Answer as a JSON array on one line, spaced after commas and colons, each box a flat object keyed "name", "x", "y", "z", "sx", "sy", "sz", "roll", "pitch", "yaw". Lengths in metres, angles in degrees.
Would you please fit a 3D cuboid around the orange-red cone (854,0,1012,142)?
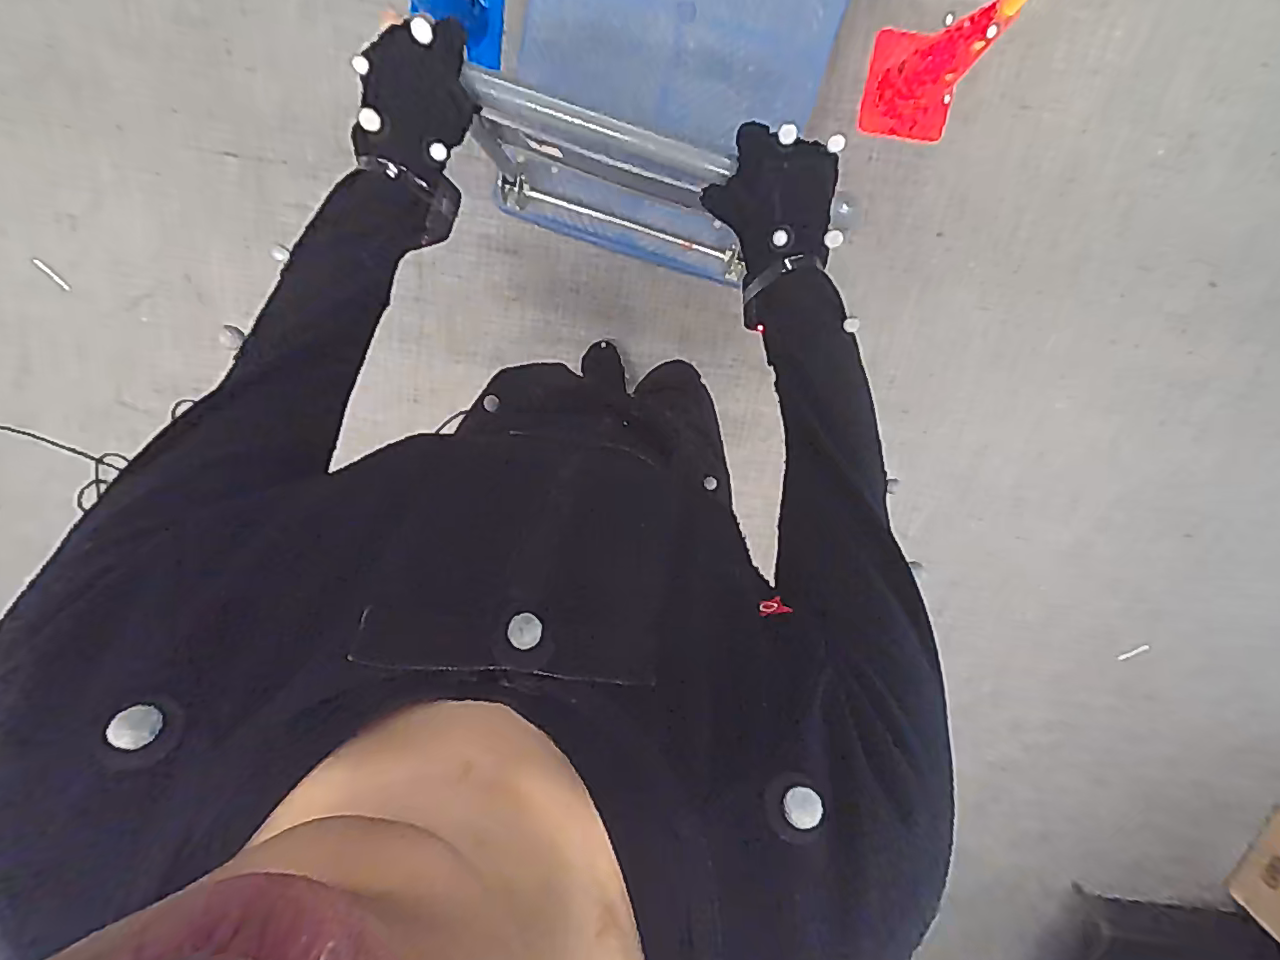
[{"name": "orange-red cone", "x": 0.595, "y": -0.834, "z": 1.057, "sx": 0.199, "sy": 0.360, "sz": 0.198, "roll": 9, "pitch": 107, "yaw": -1}]
